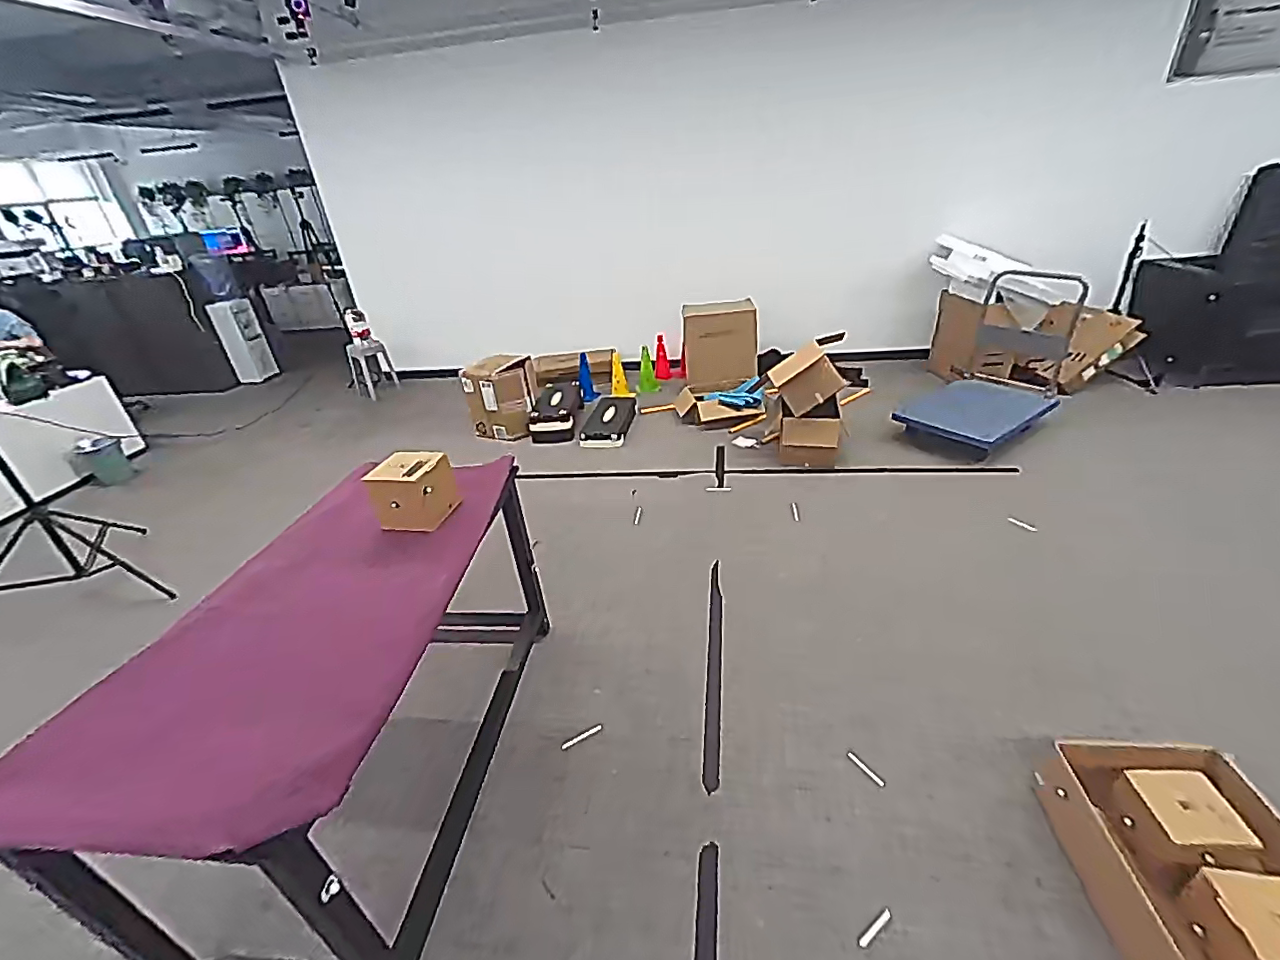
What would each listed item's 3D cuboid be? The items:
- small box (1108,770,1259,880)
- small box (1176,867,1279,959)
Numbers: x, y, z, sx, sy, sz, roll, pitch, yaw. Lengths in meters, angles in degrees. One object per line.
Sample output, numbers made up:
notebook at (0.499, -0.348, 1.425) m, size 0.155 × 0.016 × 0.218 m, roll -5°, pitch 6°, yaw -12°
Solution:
small box at (1.254, 0.811, 1.271) m, size 0.179 × 0.176 × 0.168 m, roll -2°, pitch 31°, yaw 6°
small box at (1.251, 0.921, 1.083) m, size 0.179 × 0.176 × 0.168 m, roll 1°, pitch 30°, yaw 12°
